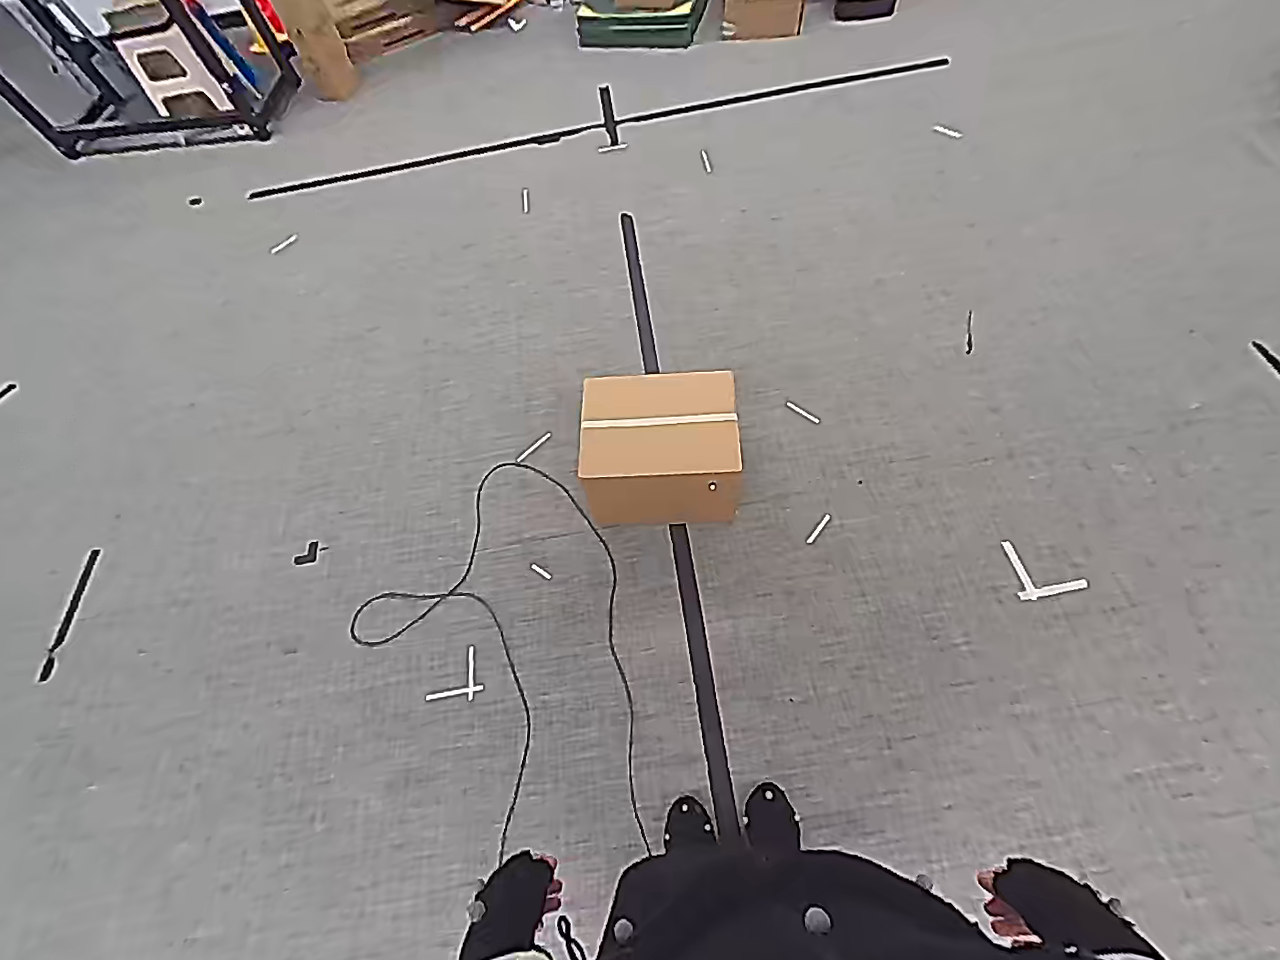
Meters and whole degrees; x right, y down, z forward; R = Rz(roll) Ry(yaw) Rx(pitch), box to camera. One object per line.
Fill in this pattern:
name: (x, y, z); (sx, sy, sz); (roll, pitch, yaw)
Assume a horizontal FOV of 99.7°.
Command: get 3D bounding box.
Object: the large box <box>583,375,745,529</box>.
large box: (0.068, -0.066, 1.515); (0.408, 0.320, 0.320); (-3, 61, 4)
